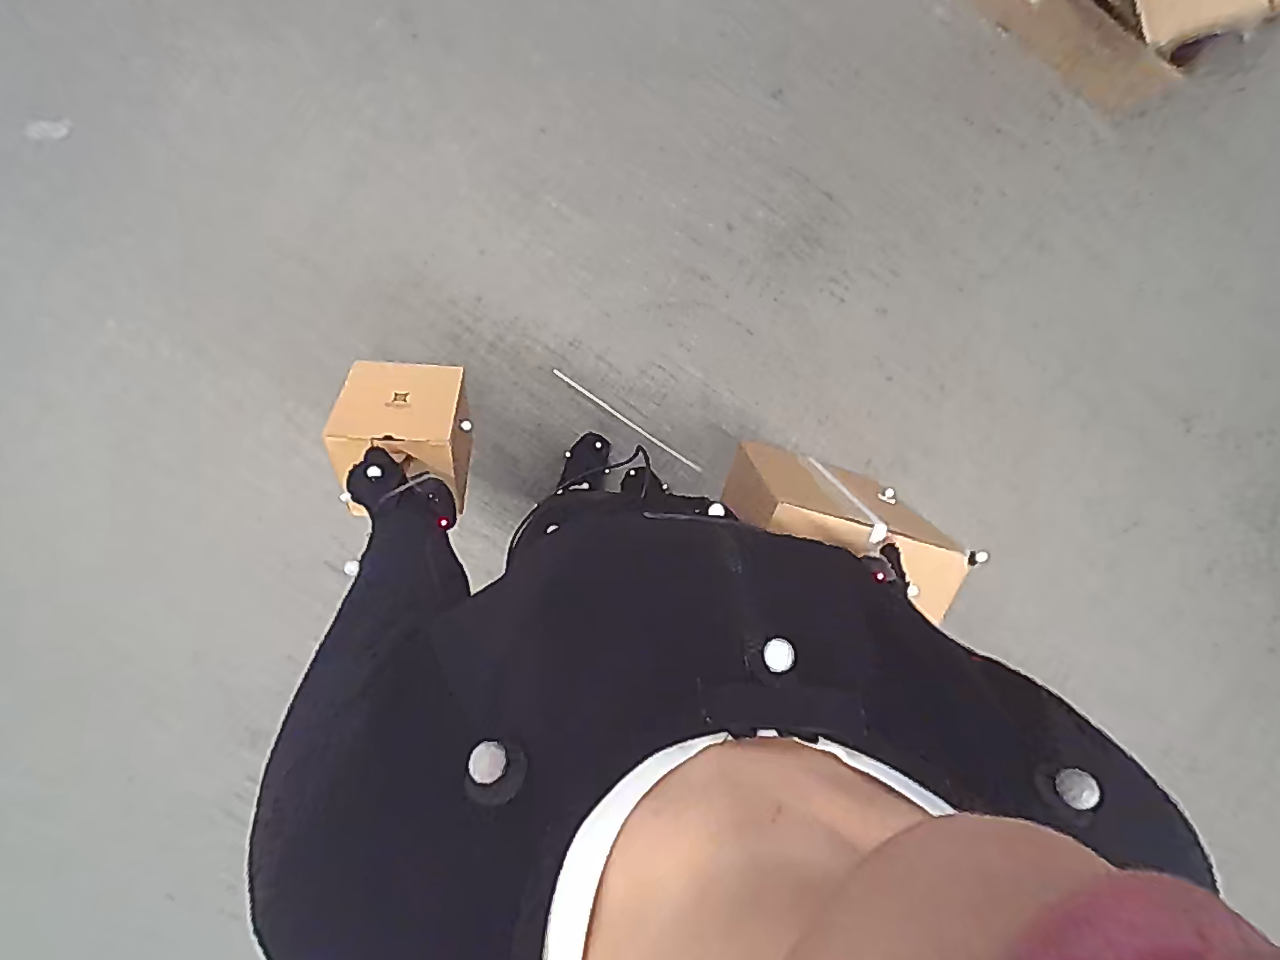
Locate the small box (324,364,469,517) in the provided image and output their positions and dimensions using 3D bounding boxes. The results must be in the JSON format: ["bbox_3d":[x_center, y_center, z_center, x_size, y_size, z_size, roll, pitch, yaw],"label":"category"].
[{"bbox_3d":[-0.369,-0.061,0.857,0.168,0.176,0.179,0,48,-10],"label":"small box"}]
